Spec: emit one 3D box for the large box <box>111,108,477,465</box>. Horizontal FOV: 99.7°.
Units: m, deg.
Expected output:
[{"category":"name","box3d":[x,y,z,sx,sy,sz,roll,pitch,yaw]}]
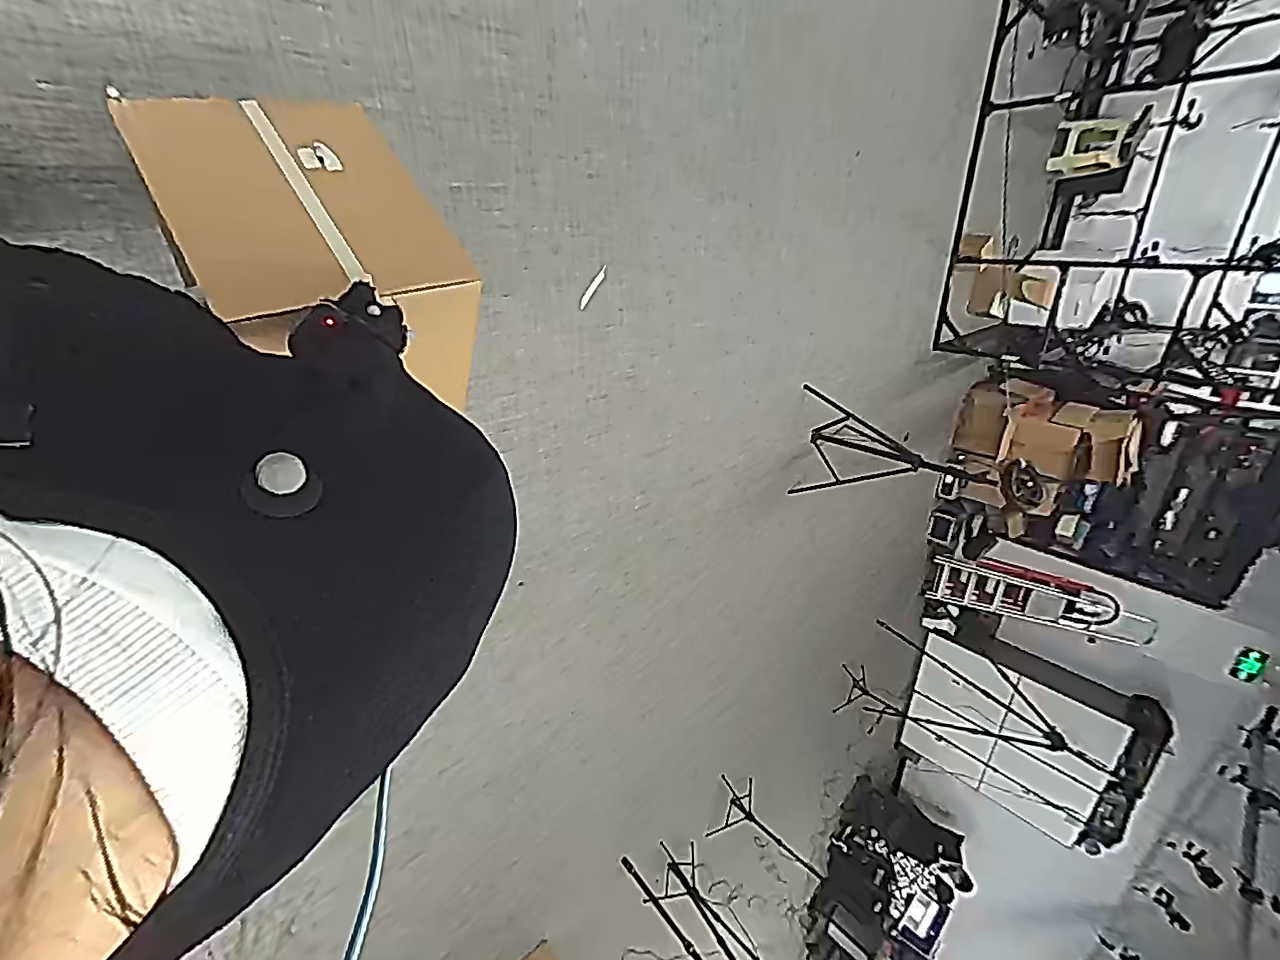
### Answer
[{"category":"large box","box3d":[-0.504,-0.301,0.849,0.320,0.408,0.320,-26,161,-35]}]
